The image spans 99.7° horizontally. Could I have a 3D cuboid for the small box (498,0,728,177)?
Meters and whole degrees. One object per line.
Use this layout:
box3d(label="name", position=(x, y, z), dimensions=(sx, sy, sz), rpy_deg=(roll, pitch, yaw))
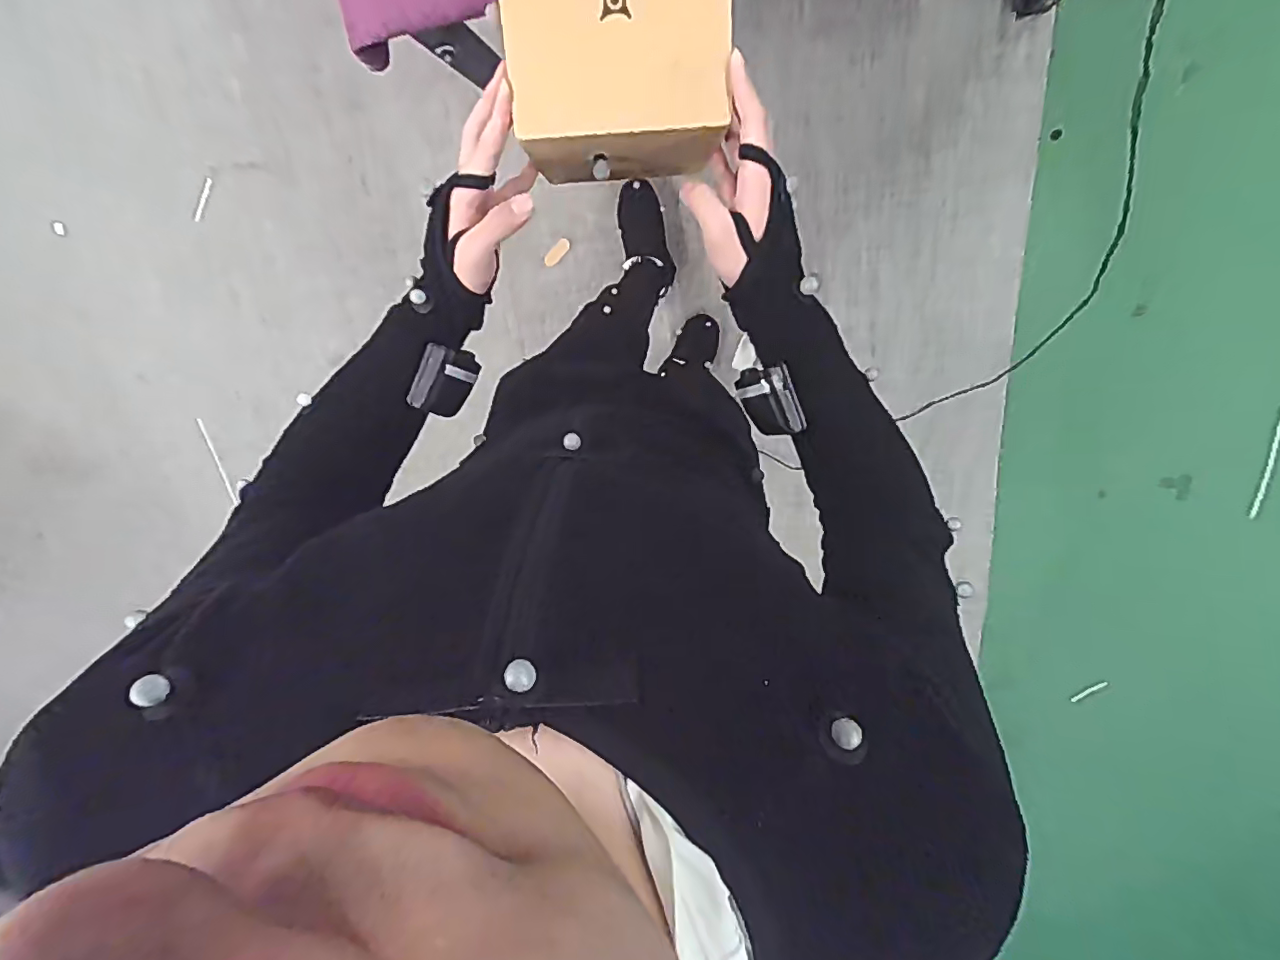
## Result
box3d(label="small box", position=(-0.019, -0.368, 0.454), dimensions=(0.168, 0.176, 0.179), rpy_deg=(-4, 107, 1))

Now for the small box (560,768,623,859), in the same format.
box3d(label="small box", position=(-0.148, 1.041, 1.698), dimensions=(0.168, 0.176, 0.179), rpy_deg=(2, 110, 7))
